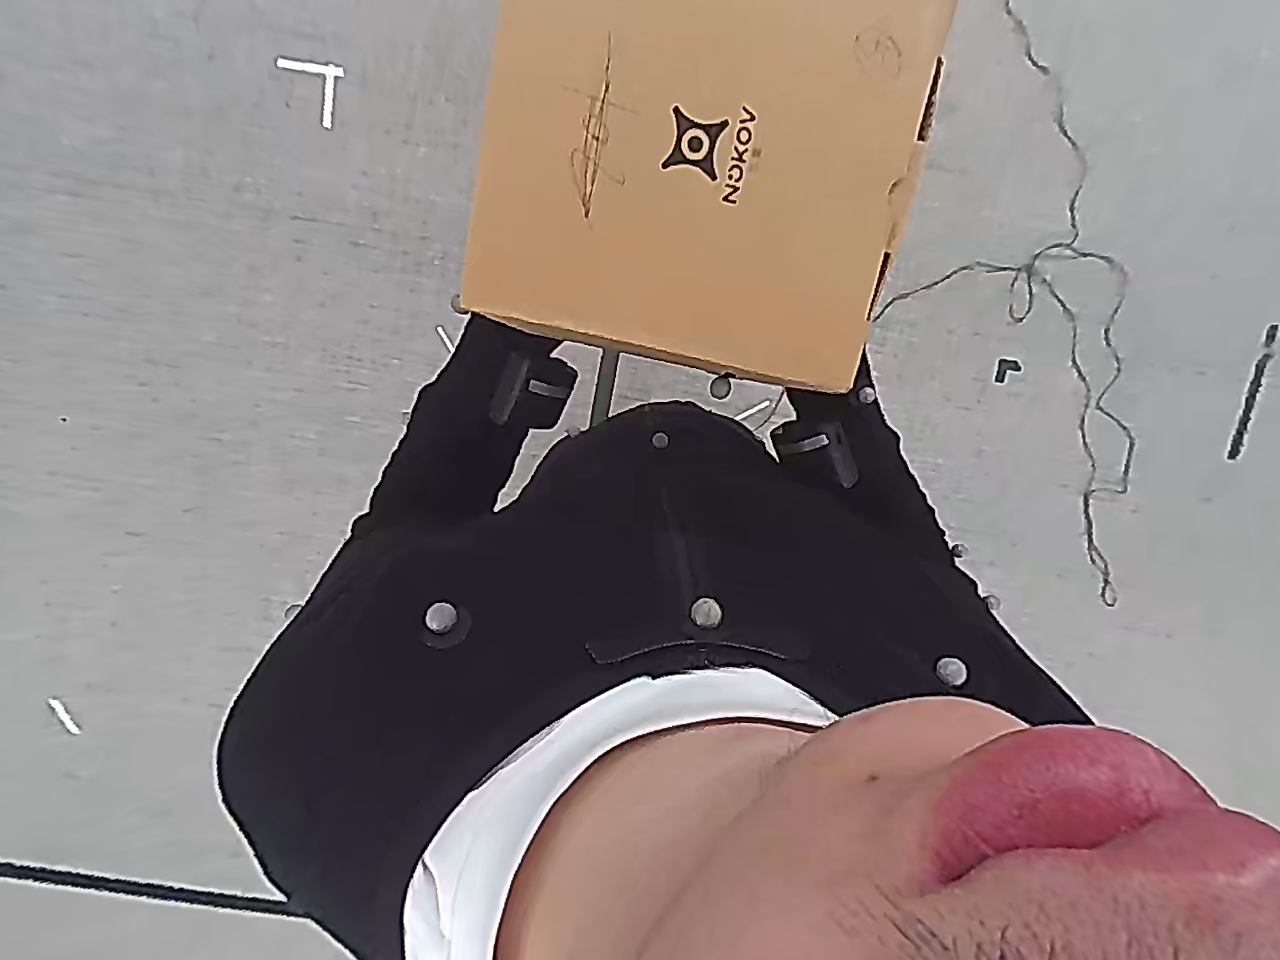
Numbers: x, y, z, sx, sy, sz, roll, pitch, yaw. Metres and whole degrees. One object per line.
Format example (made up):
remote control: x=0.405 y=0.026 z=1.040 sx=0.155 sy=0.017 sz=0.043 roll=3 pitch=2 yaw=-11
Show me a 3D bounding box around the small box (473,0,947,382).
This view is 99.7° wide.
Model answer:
small box: x=0.023 y=-0.156 z=0.308 sx=0.179 sy=0.176 sz=0.168 roll=11 pitch=100 yaw=-4
